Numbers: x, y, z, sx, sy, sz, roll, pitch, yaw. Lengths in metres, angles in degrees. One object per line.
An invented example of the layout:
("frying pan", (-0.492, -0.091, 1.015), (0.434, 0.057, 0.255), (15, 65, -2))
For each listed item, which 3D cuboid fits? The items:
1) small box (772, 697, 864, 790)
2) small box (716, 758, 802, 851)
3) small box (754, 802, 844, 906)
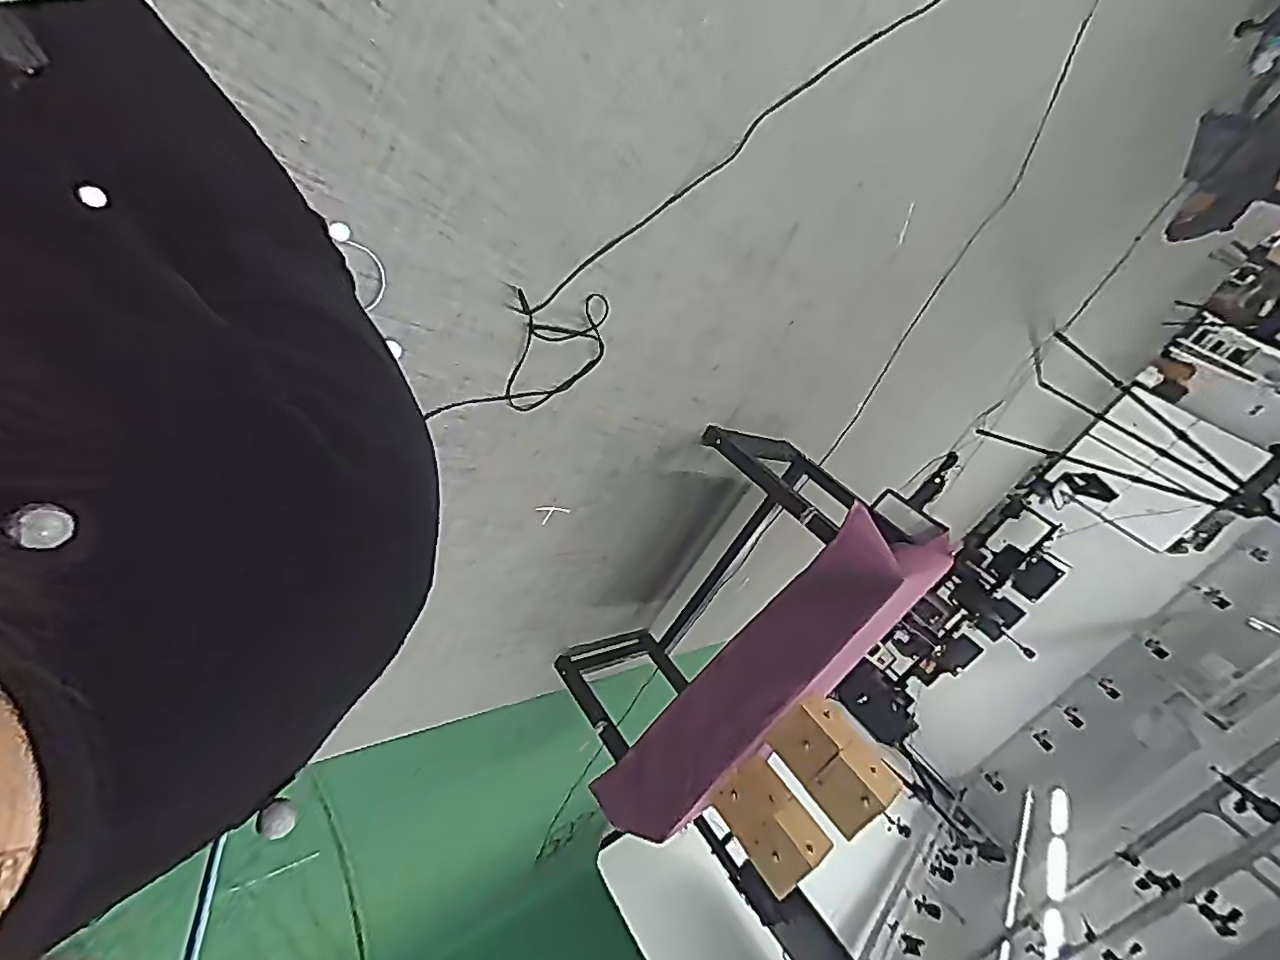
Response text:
("small box", (0.534, 0.781, 1.629), (0.168, 0.176, 0.179), (10, 118, -52))
("small box", (0.381, 1.030, 1.735), (0.179, 0.176, 0.168), (12, 117, -52))
("small box", (0.478, 1.129, 1.646), (0.179, 0.176, 0.168), (9, 120, -52))
